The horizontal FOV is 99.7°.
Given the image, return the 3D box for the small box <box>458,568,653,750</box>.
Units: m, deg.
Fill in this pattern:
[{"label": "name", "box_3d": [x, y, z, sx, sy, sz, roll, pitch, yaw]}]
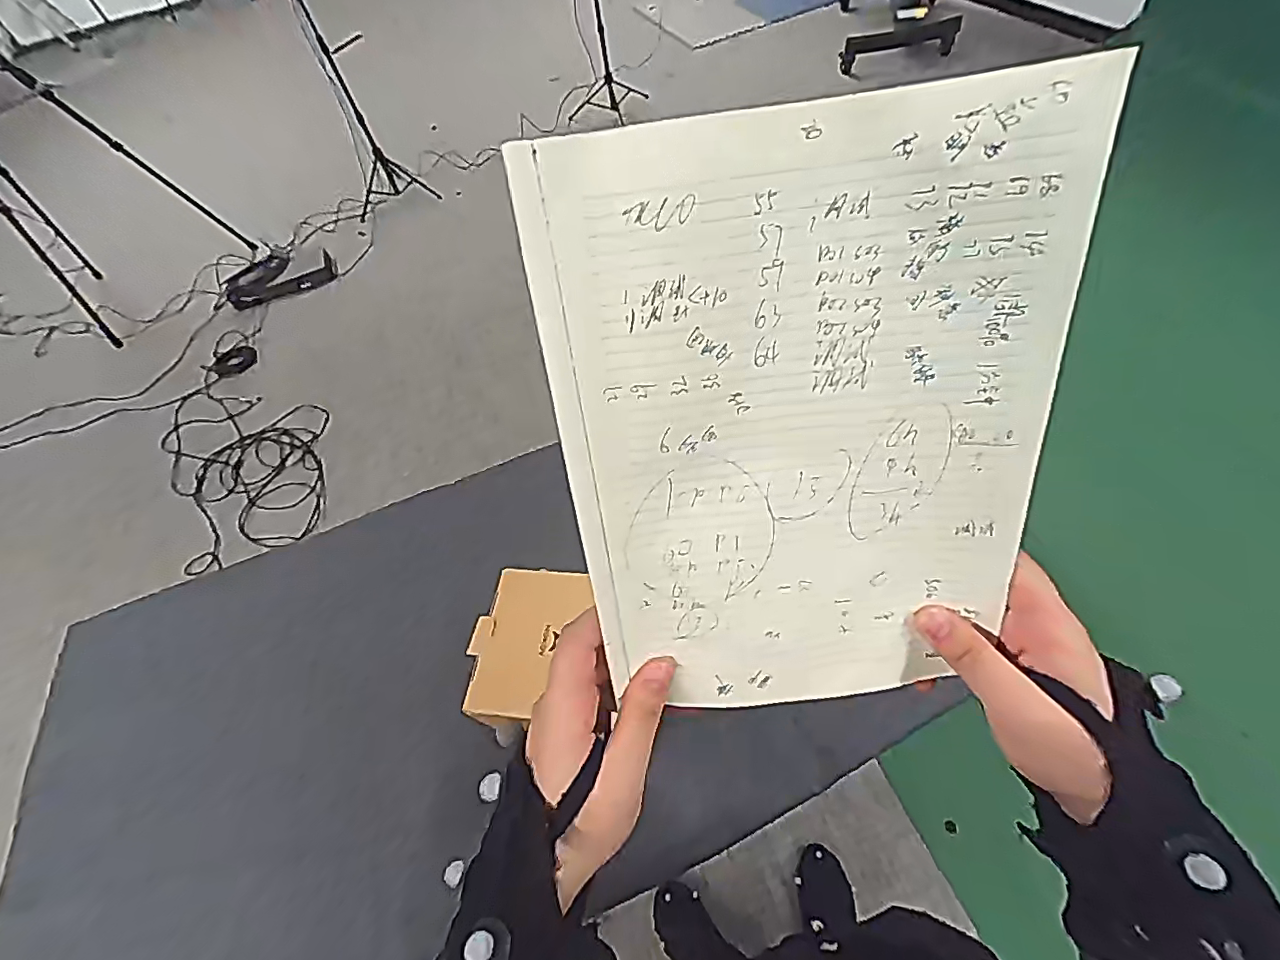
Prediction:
[{"label": "small box", "box_3d": [-0.084, 0.220, 0.655, 0.179, 0.176, 0.168, 1, 56, 11]}]
